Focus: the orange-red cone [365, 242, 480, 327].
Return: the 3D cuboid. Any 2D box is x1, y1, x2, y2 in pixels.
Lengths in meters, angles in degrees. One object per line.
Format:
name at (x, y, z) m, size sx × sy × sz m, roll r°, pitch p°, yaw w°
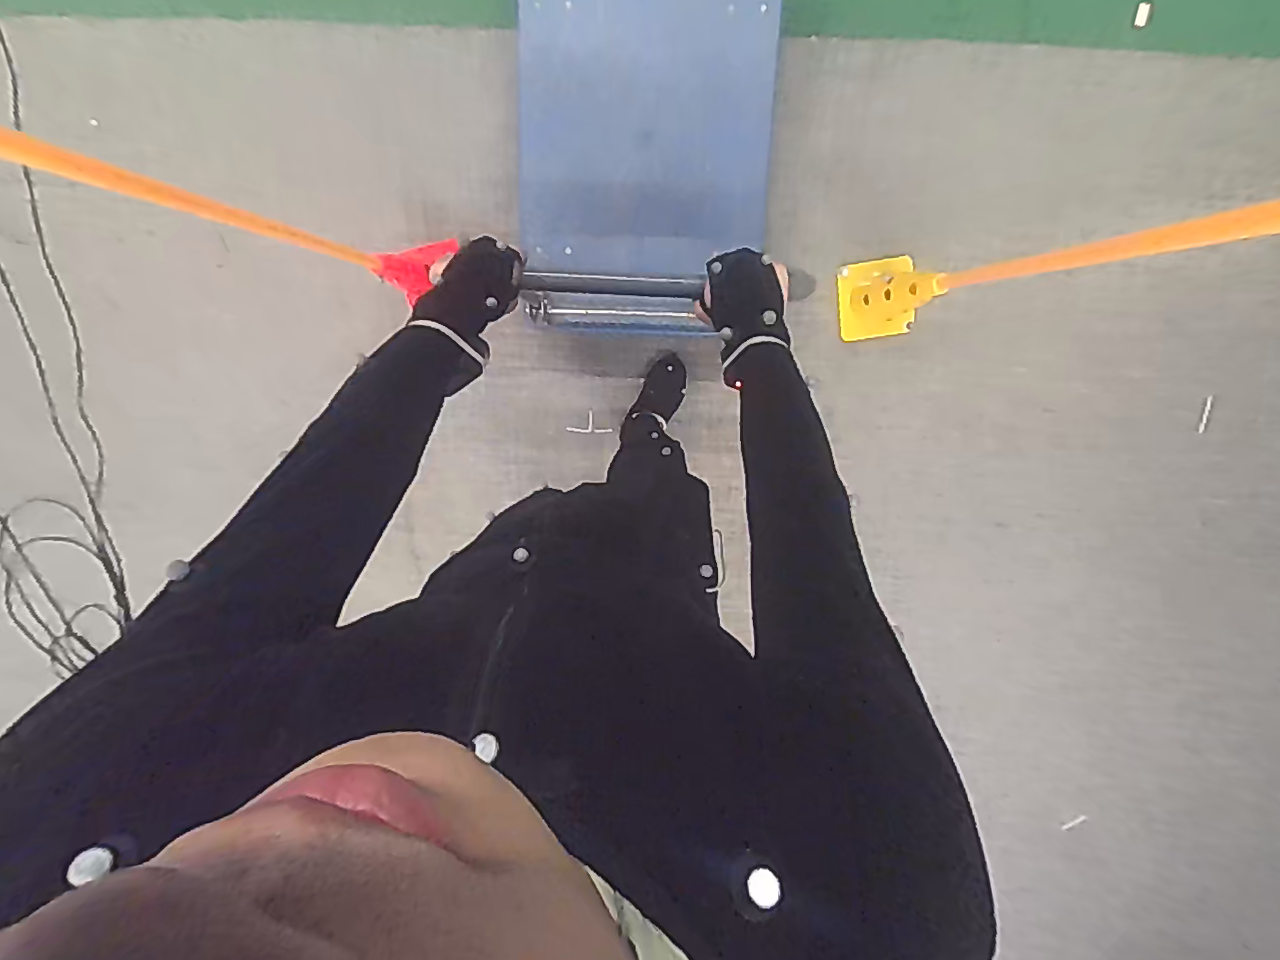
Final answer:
orange-red cone at (-0.552, -0.489, 1.300) m, size 0.199 × 0.360 × 0.198 m, roll -11°, pitch 103°, yaw 5°
